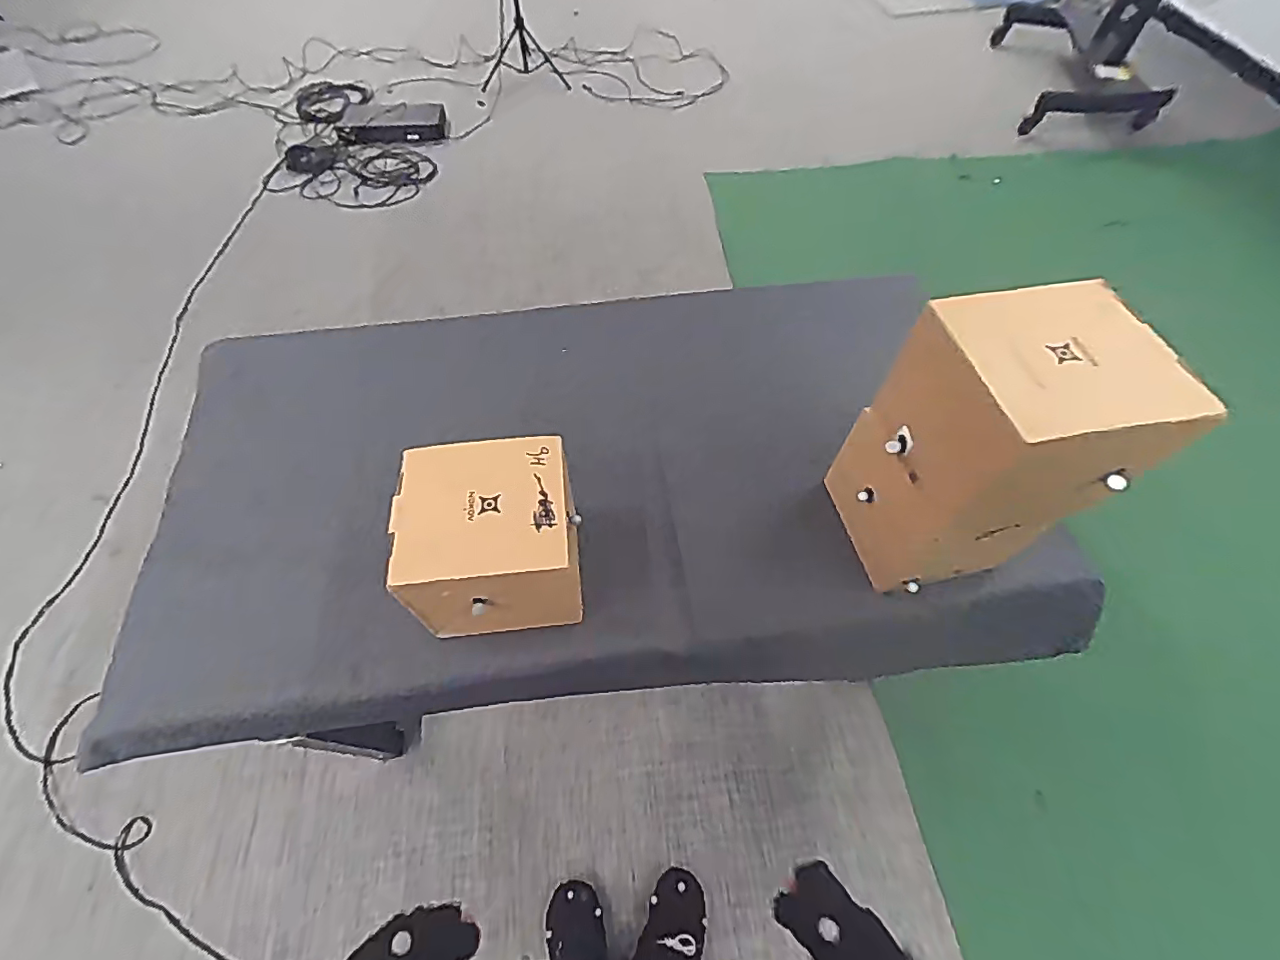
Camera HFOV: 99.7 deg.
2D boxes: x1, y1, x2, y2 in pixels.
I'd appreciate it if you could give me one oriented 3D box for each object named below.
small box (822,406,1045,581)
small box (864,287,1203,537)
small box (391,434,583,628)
[{"bbox_3d":[0.355,0.015,0.679,0.168,0.176,0.179,-11,59,-7],"label":"small box"},{"bbox_3d":[0.357,-0.061,0.536,0.179,0.176,0.168,-10,58,-5],"label":"small box"},{"bbox_3d":[-0.166,0.067,0.641,0.179,0.176,0.168,-6,58,-4],"label":"small box"}]
